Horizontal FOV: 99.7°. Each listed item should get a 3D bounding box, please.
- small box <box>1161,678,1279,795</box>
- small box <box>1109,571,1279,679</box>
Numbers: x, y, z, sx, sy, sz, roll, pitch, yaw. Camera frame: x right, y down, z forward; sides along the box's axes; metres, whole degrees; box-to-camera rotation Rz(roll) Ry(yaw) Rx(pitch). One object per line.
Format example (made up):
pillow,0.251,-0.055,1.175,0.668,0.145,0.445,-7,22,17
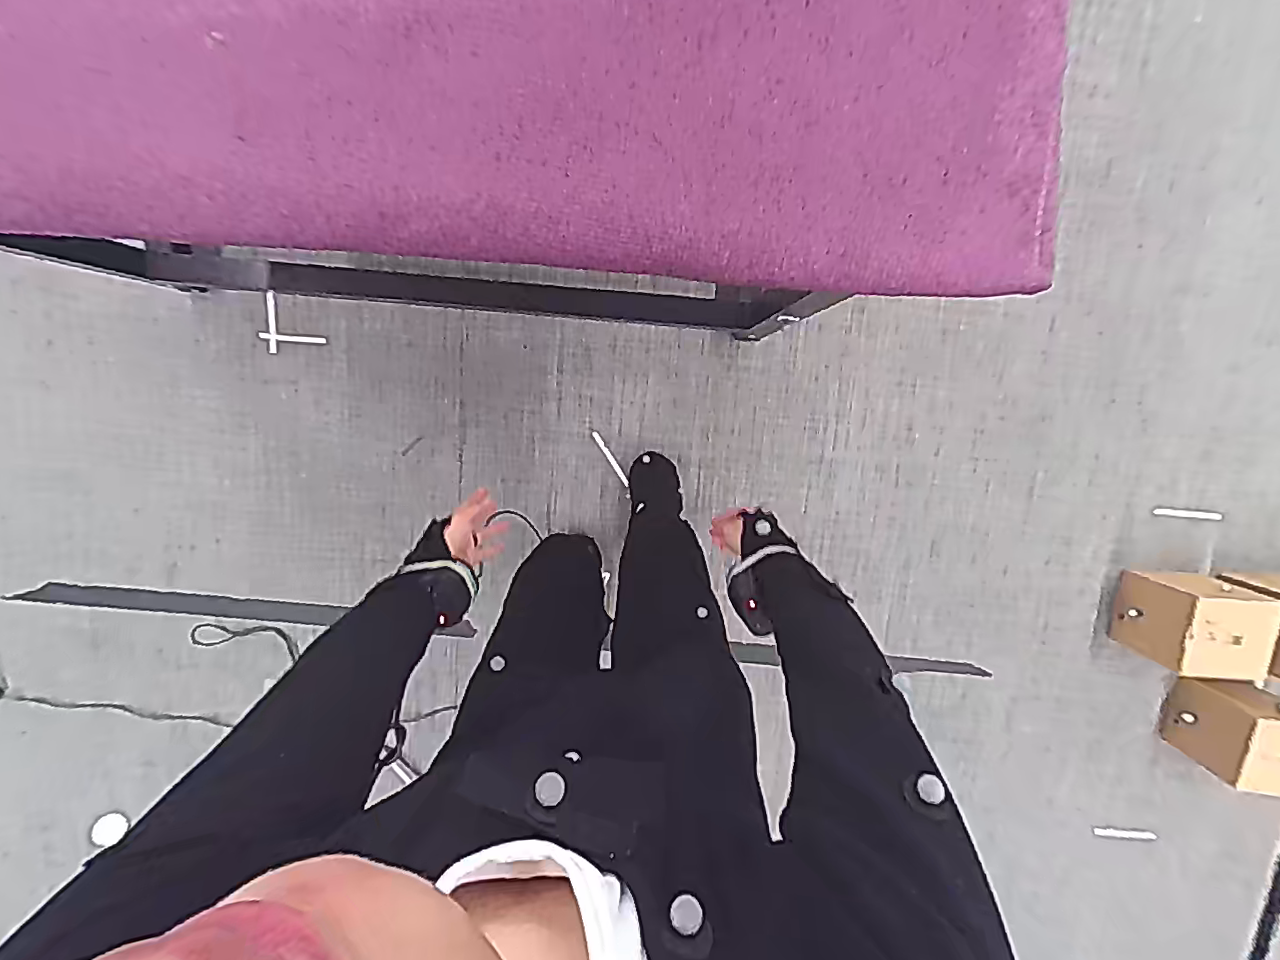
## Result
small box,1.320,0.555,1.182,0.179,0.176,0.168,7,99,-1
small box,1.156,0.298,1.136,0.179,0.176,0.168,4,99,-1
